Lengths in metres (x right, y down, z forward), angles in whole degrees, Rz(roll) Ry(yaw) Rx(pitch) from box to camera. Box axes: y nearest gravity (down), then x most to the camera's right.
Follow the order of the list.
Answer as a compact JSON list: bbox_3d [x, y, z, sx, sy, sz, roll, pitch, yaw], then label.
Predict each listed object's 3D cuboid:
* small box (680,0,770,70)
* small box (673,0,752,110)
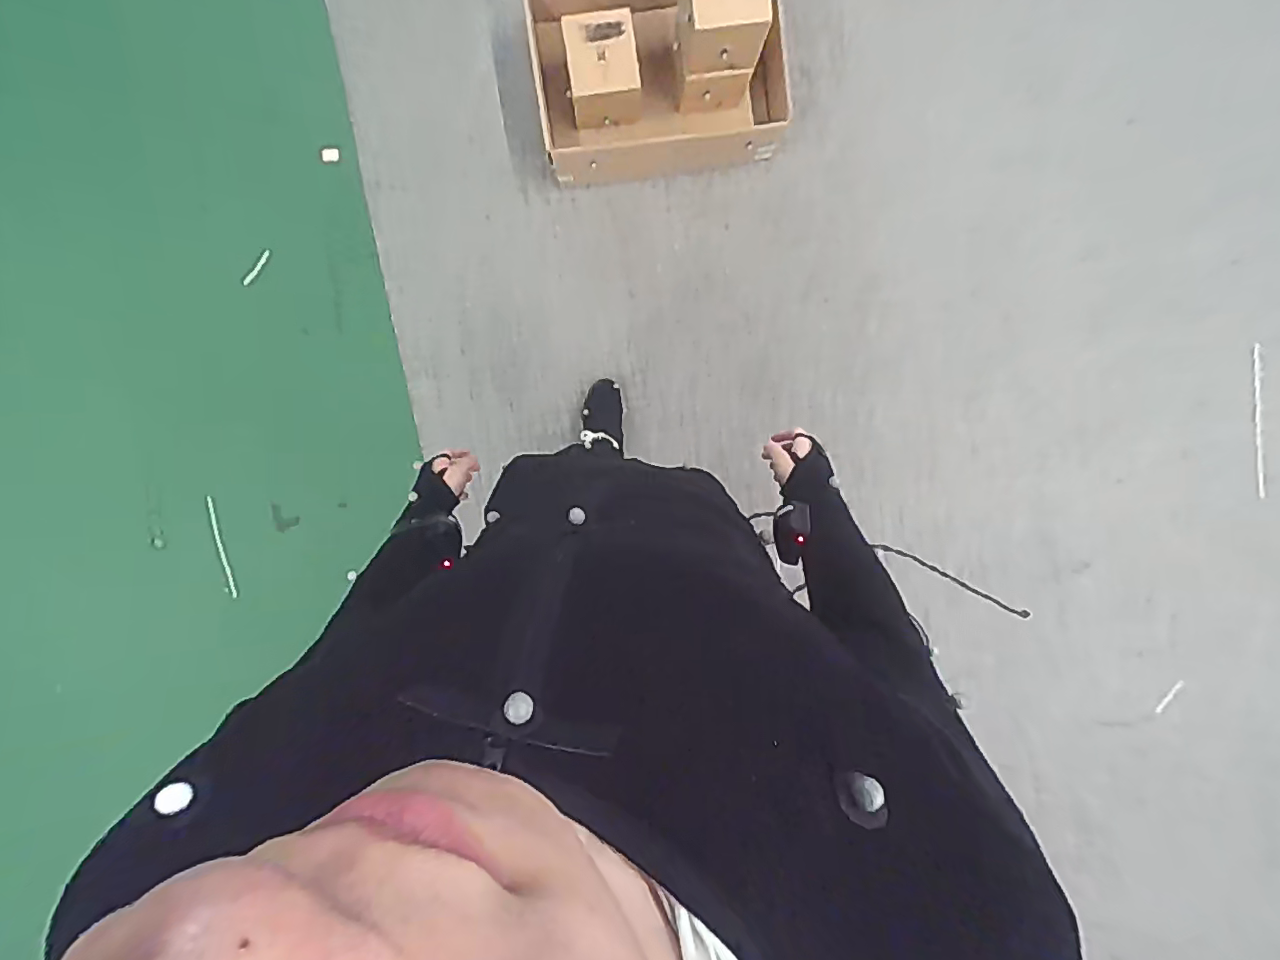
[{"bbox_3d":[0.183,-1.043,1.192,0.168,0.176,0.179,-7,98,0],"label":"small box"},{"bbox_3d":[0.177,-1.063,1.357,0.168,0.176,0.179,-7,98,0],"label":"small box"}]
